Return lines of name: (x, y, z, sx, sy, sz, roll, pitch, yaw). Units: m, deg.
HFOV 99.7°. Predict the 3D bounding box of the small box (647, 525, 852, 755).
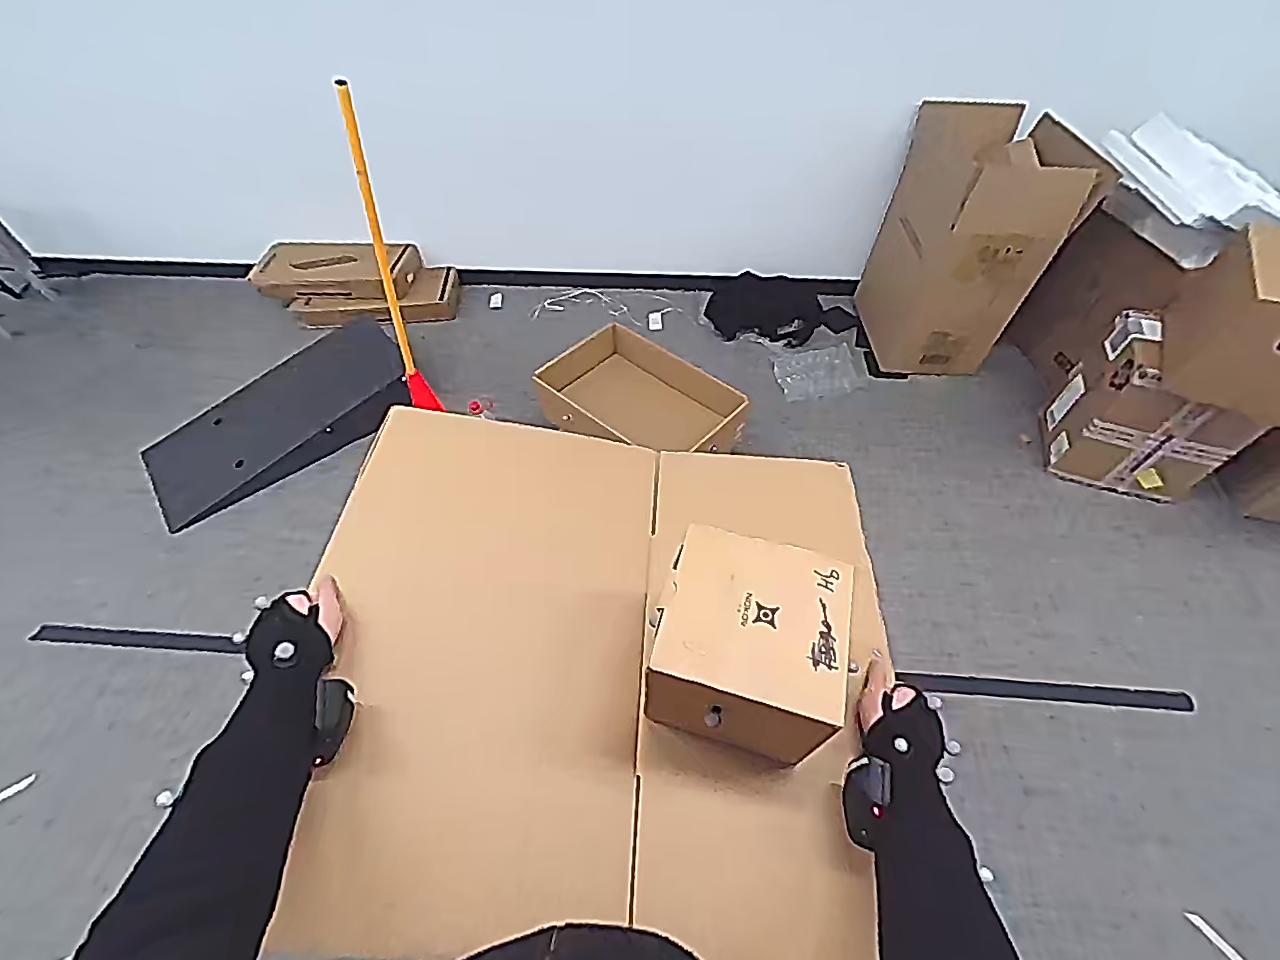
small box: (0.113, 0.177, 0.587, 0.179, 0.176, 0.168, 13, 54, 11)
